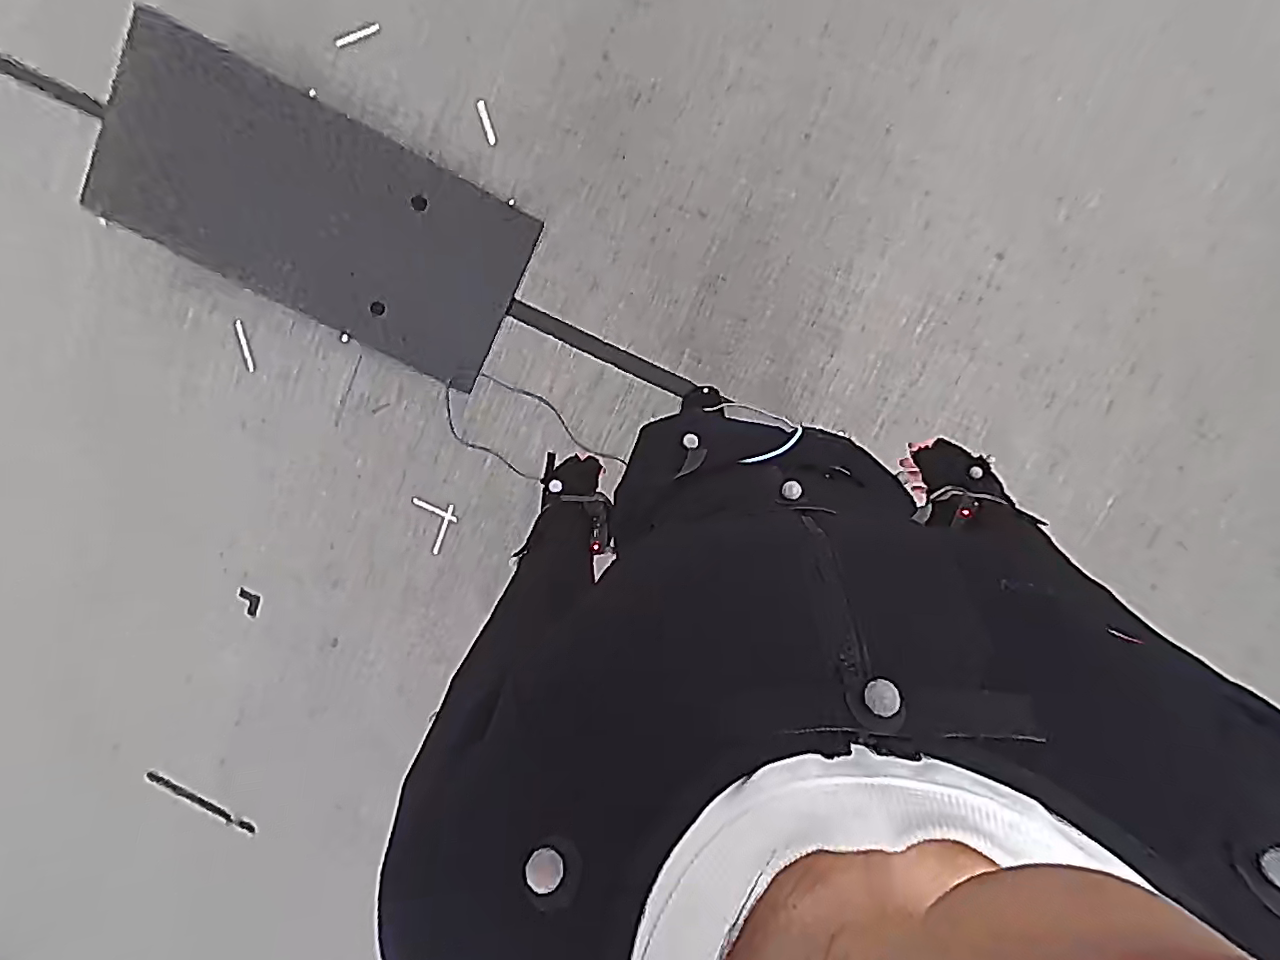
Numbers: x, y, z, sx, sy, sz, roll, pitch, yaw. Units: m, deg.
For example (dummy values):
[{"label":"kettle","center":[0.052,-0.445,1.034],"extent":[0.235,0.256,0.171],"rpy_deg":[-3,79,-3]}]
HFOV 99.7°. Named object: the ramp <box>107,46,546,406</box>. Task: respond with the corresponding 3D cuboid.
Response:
[{"label":"ramp","center":[-0.788,-0.619,1.392],"extent":[0.991,0.206,0.509],"rpy_deg":[25,98,2]}]
